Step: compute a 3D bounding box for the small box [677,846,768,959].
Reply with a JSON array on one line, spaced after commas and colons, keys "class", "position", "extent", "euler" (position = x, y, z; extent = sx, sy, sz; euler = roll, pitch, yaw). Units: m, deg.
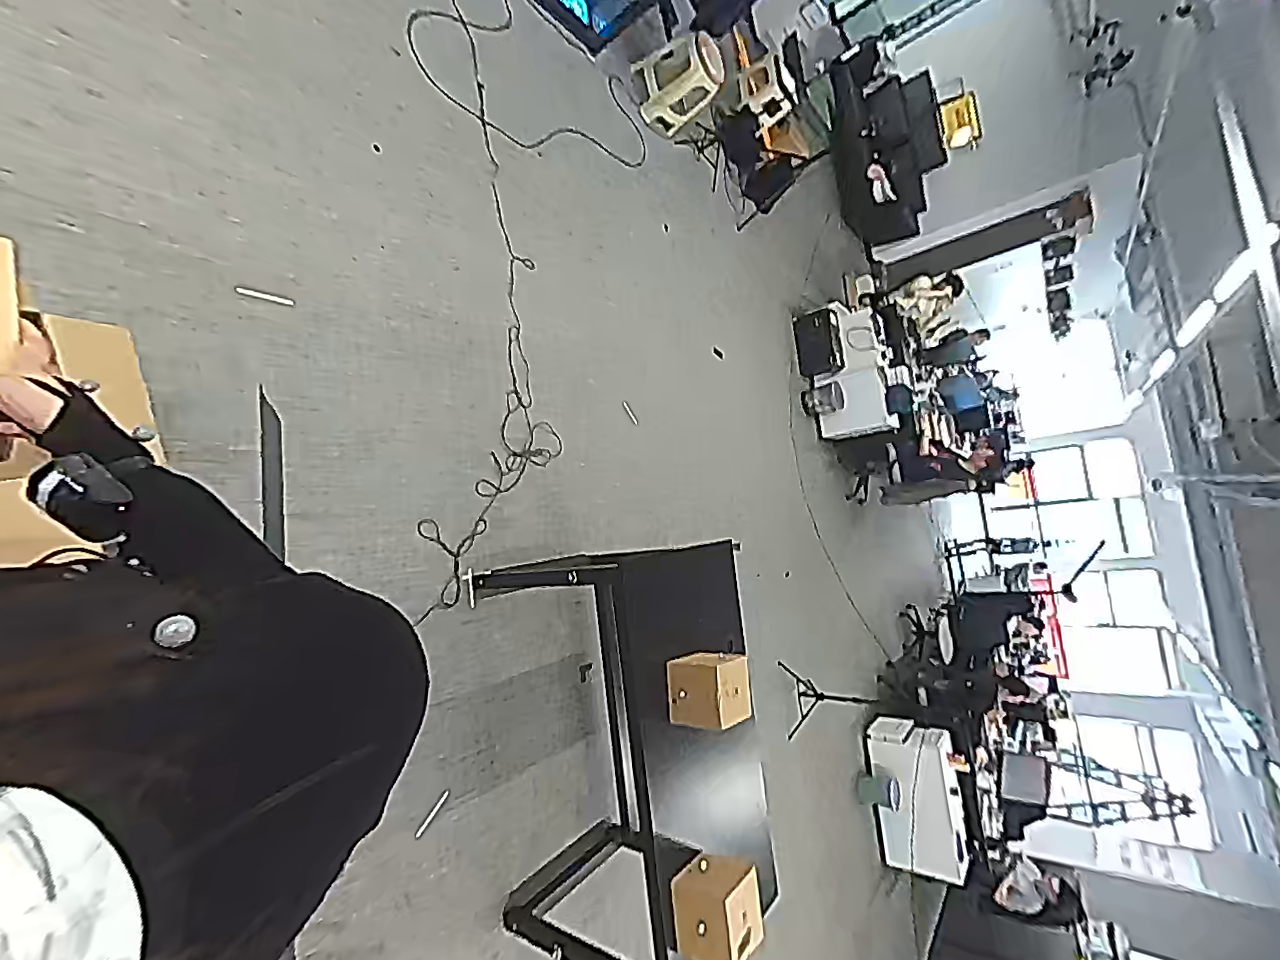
[{"class": "small box", "position": [0.214, 1.108, 1.421], "extent": [0.168, 0.176, 0.179], "euler": [3, 78, -51]}]

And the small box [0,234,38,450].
[{"class": "small box", "position": [-0.682, -0.125, 0.483], "extent": [0.179, 0.176, 0.168], "euler": [-4, 71, -52]}]

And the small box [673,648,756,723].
[{"class": "small box", "position": [0.211, 0.578, 1.541], "extent": [0.179, 0.176, 0.168], "euler": [8, 75, -50]}]
